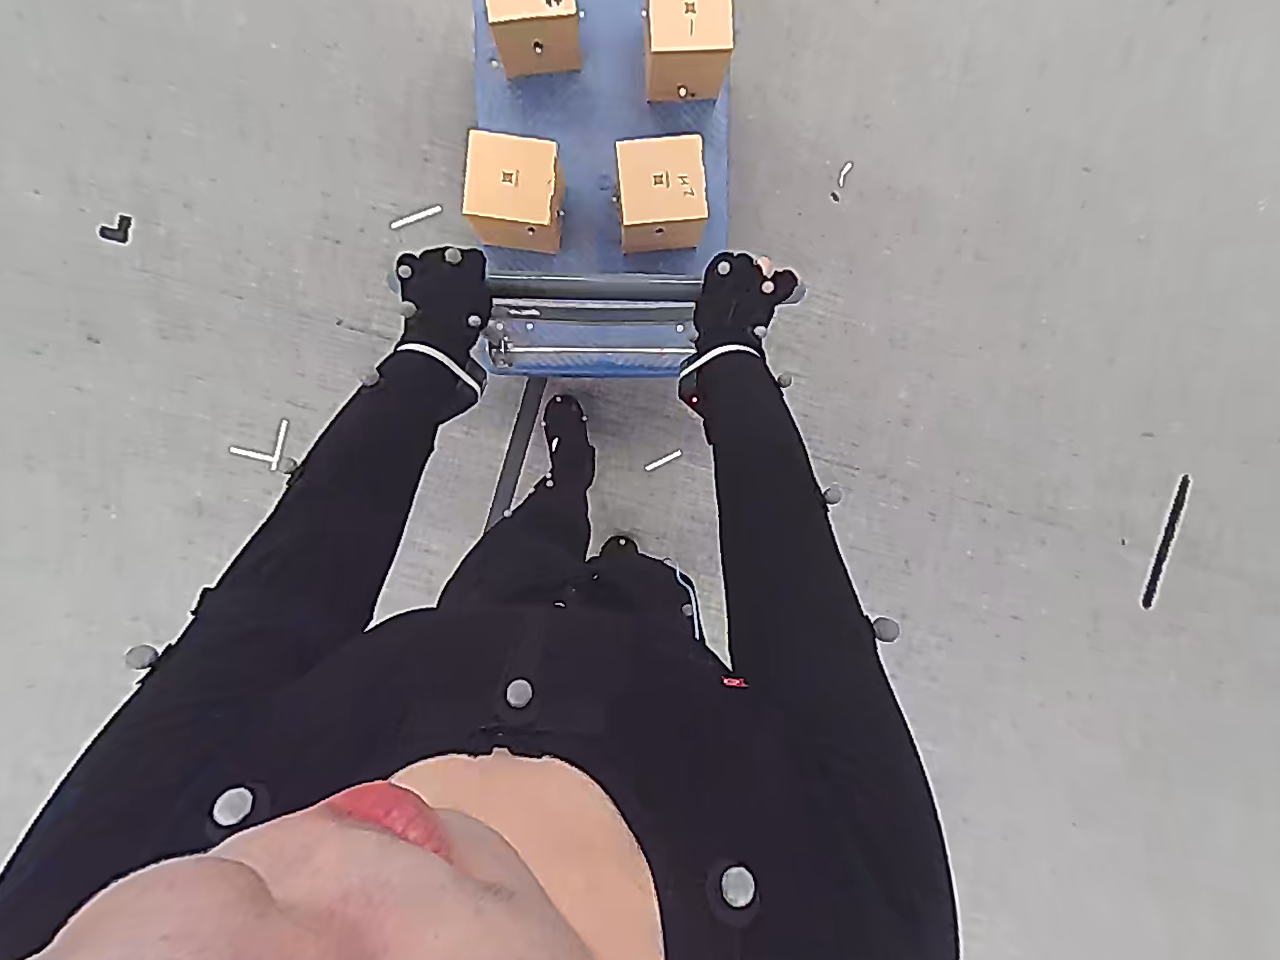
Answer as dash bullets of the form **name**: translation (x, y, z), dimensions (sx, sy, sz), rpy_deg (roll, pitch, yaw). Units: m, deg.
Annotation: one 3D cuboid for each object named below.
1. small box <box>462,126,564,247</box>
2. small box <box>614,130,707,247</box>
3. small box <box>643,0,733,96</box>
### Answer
- **small box**: translation (-0.263, -0.612, 1.149), dimensions (0.179, 0.176, 0.168), rpy_deg (6, 94, -4)
- **small box**: translation (0.041, -0.614, 1.159), dimensions (0.179, 0.176, 0.168), rpy_deg (-6, 95, -2)
- **small box**: translation (0.095, -0.948, 1.134), dimensions (0.168, 0.176, 0.179), rpy_deg (-3, 96, -2)
